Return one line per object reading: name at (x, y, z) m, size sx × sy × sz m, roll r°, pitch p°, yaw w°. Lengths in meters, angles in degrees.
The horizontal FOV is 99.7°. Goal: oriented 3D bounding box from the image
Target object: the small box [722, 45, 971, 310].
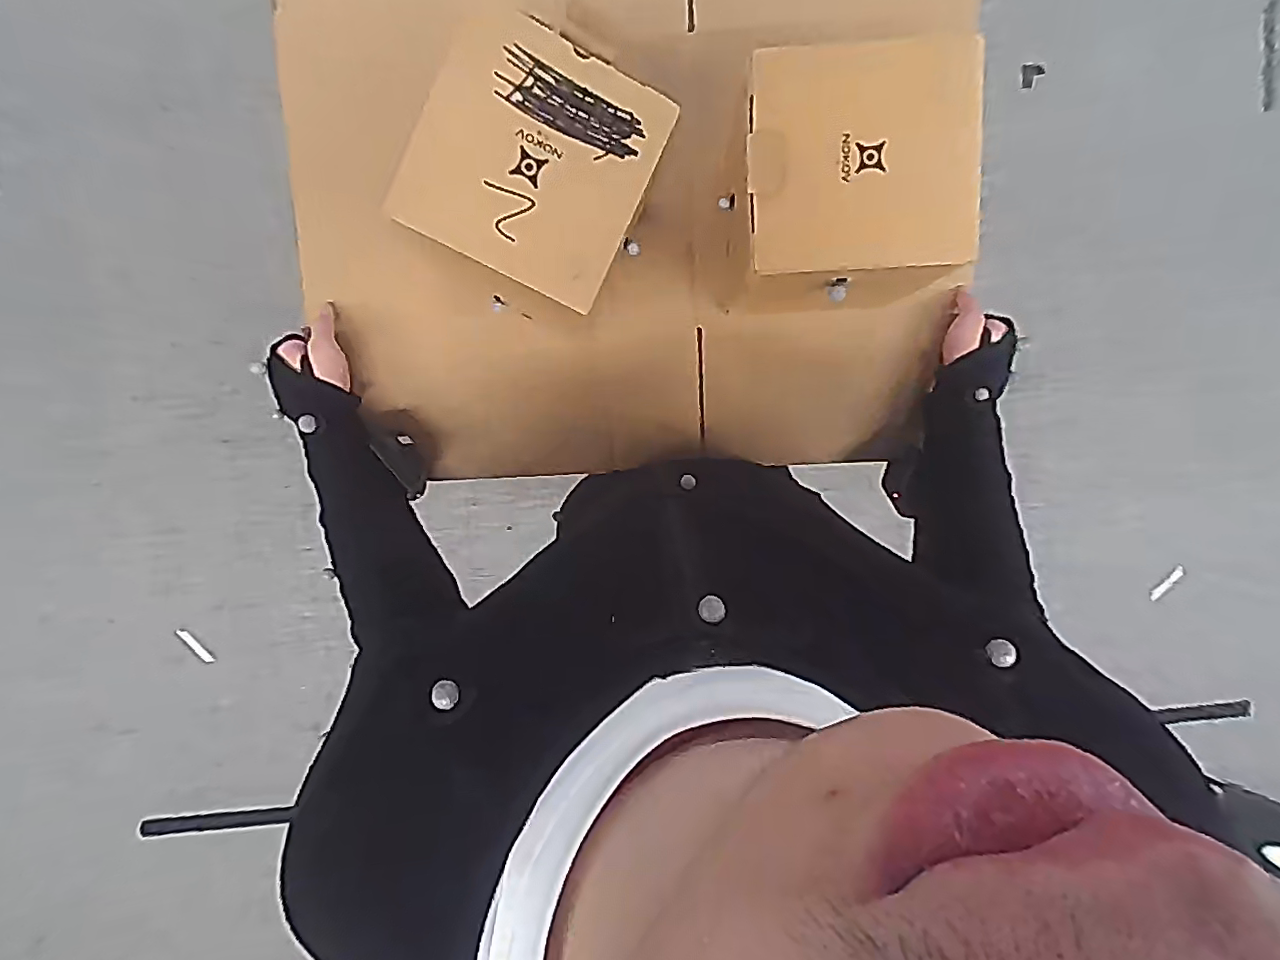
small box at (0.176, -0.263, 0.511) m, size 0.179 × 0.176 × 0.168 m, roll -2°, pitch 96°, yaw 3°
